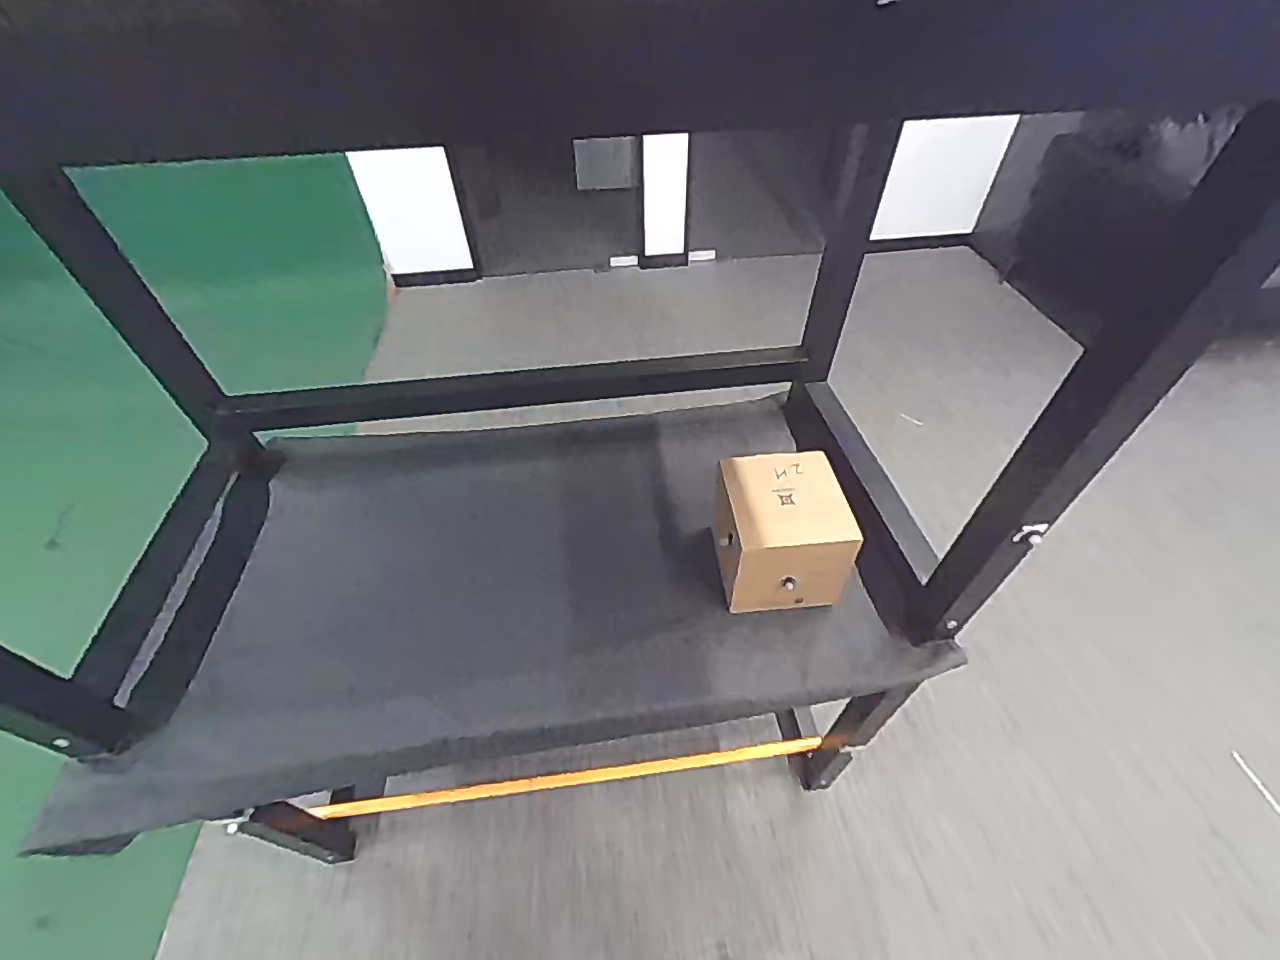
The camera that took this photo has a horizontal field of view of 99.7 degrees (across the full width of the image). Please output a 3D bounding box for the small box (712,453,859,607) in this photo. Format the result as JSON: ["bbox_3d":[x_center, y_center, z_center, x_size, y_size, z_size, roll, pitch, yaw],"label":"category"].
[{"bbox_3d":[0.209,0.082,0.830,0.168,0.176,0.179,-4,46,-2],"label":"small box"}]
